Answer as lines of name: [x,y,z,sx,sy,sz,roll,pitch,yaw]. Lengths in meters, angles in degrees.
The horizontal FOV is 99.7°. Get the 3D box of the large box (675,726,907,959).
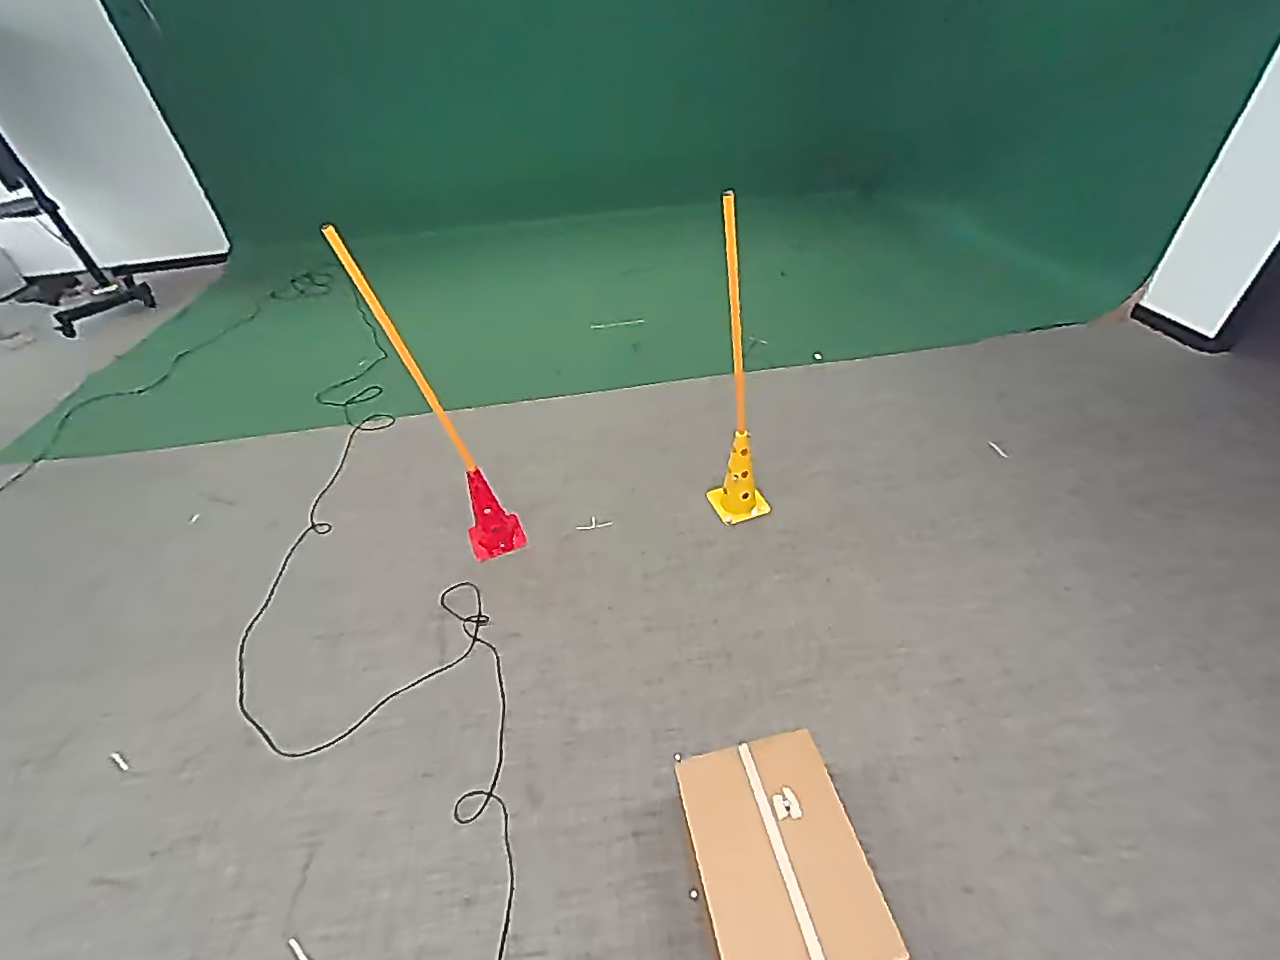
large box: [0.282,0.817,1.143,0.320,0.320,0.408,-11,40,-6]
